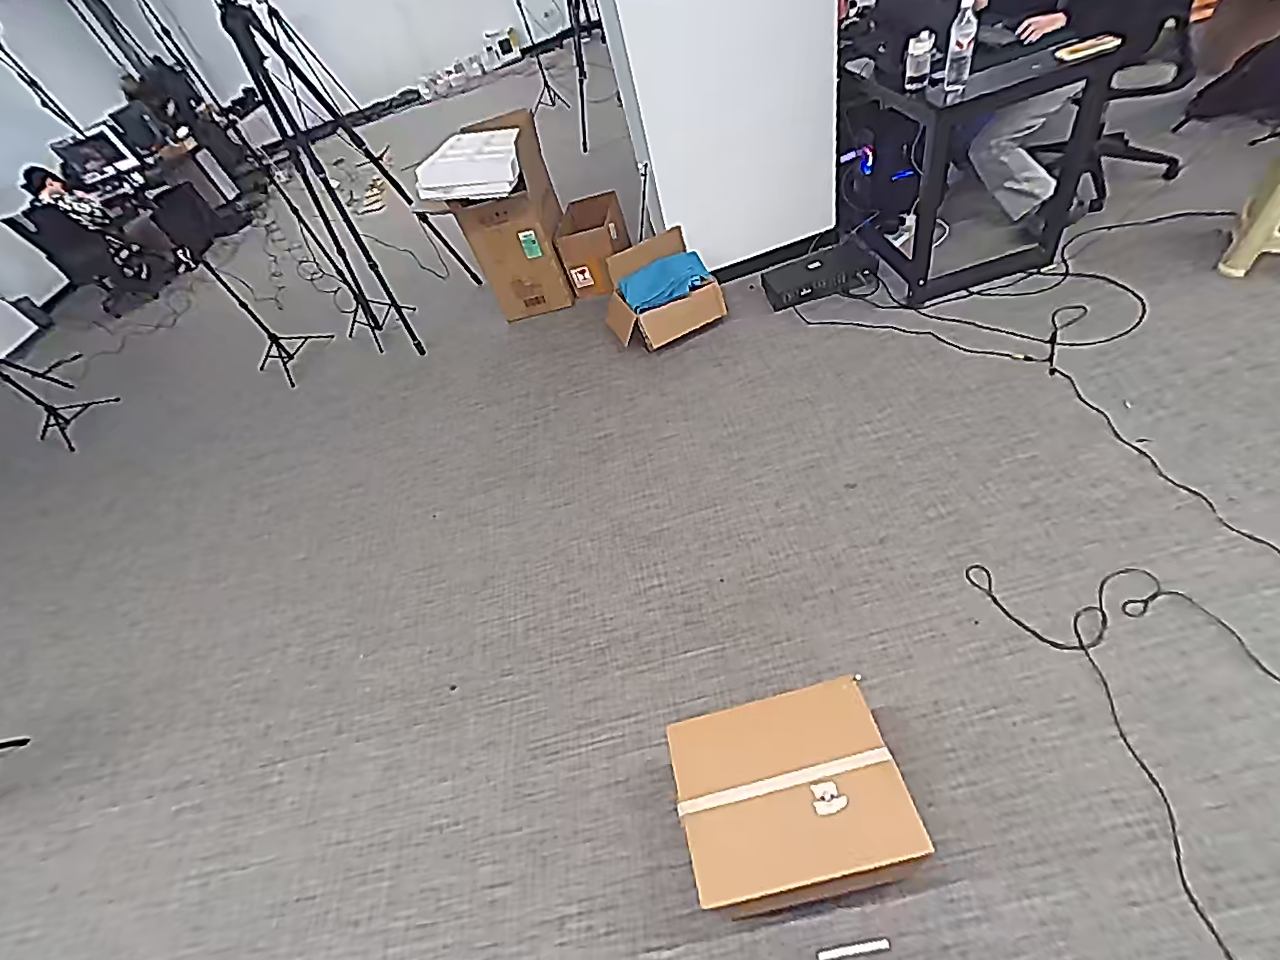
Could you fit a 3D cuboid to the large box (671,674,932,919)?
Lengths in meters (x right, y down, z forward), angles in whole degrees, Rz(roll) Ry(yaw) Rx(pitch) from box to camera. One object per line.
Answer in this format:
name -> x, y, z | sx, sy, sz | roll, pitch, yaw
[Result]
large box -> 0.315, 0.663, 1.125 | 0.408, 0.320, 0.320 | -17, 47, 4
